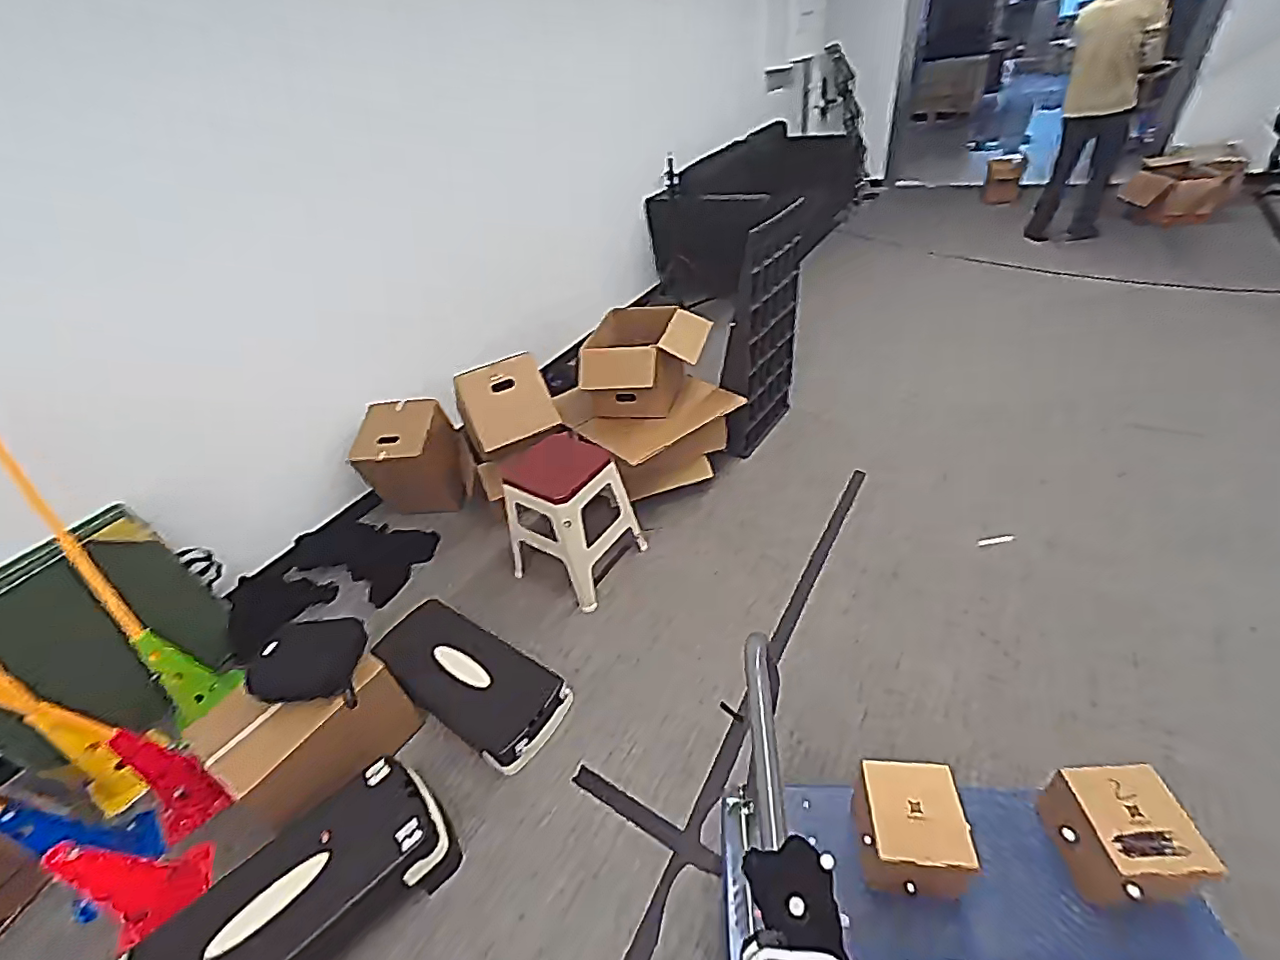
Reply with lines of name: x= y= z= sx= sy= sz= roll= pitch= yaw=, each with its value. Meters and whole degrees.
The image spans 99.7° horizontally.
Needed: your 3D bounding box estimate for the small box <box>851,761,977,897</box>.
small box: x=0.525 y=0.685 z=1.065 sx=0.168 sy=0.176 sz=0.179 roll=-1 pitch=40 yaw=9
